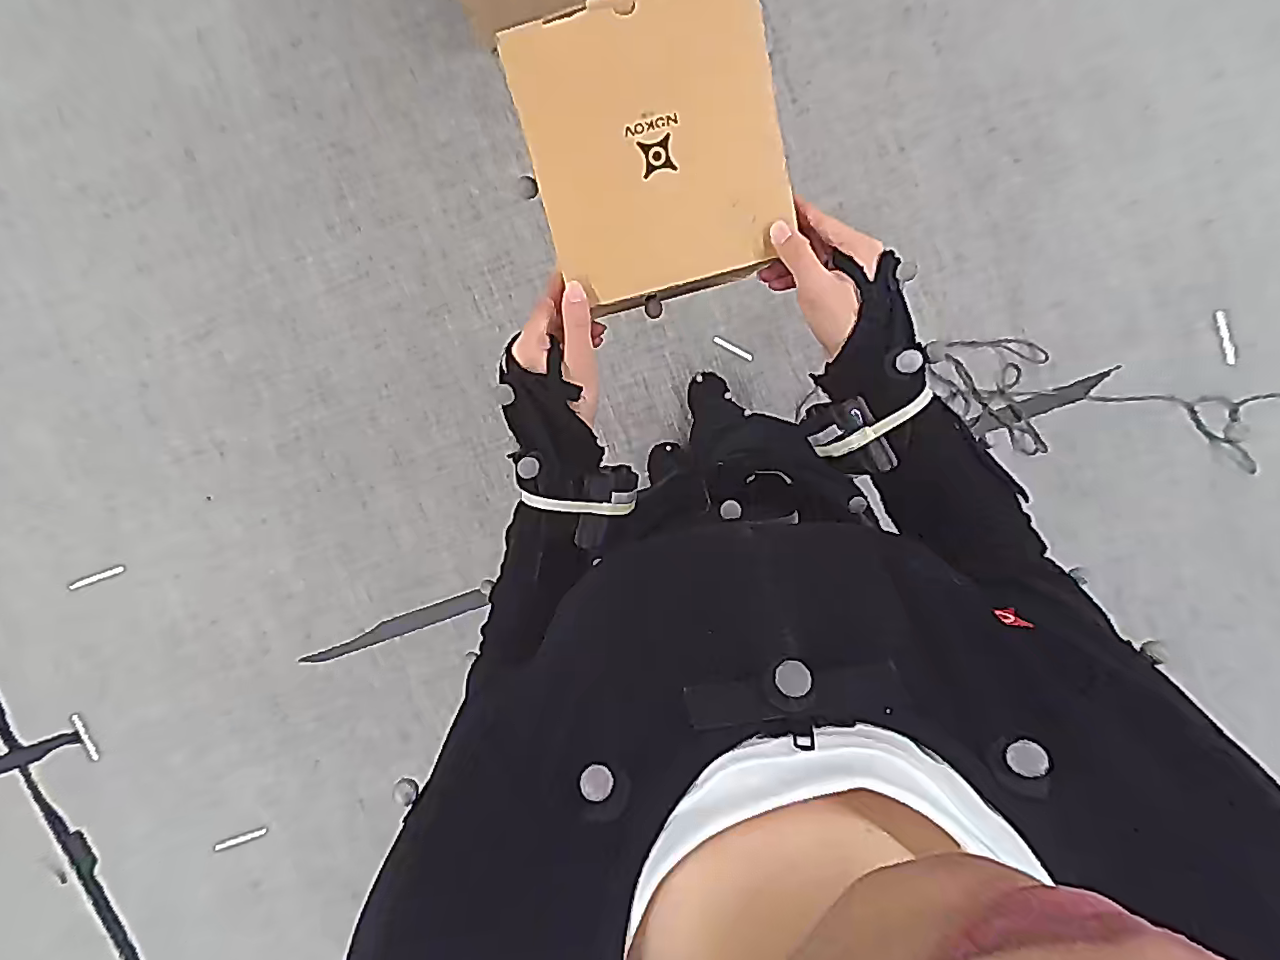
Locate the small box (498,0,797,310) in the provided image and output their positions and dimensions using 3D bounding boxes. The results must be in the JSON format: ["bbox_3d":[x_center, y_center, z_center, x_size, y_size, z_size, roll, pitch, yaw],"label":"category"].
[{"bbox_3d":[0.010,-0.241,0.430,0.168,0.176,0.179,-14,103,3],"label":"small box"}]
